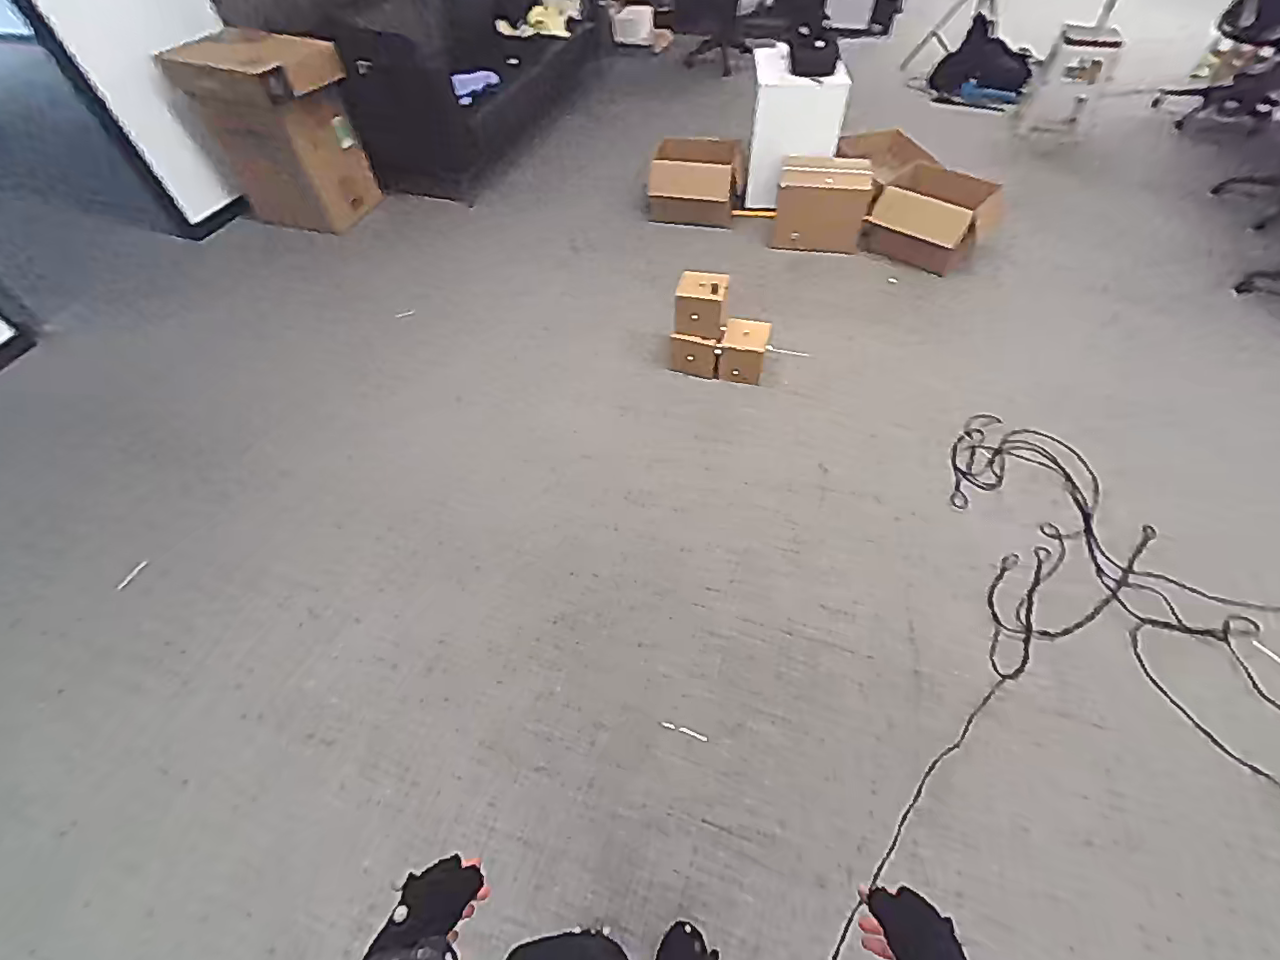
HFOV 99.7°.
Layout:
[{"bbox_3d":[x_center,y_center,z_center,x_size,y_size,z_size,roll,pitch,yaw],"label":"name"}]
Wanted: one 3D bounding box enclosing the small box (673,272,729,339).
[{"bbox_3d":[0.227,-0.648,2.021,0.179,0.176,0.168,11,53,13],"label":"small box"}]
